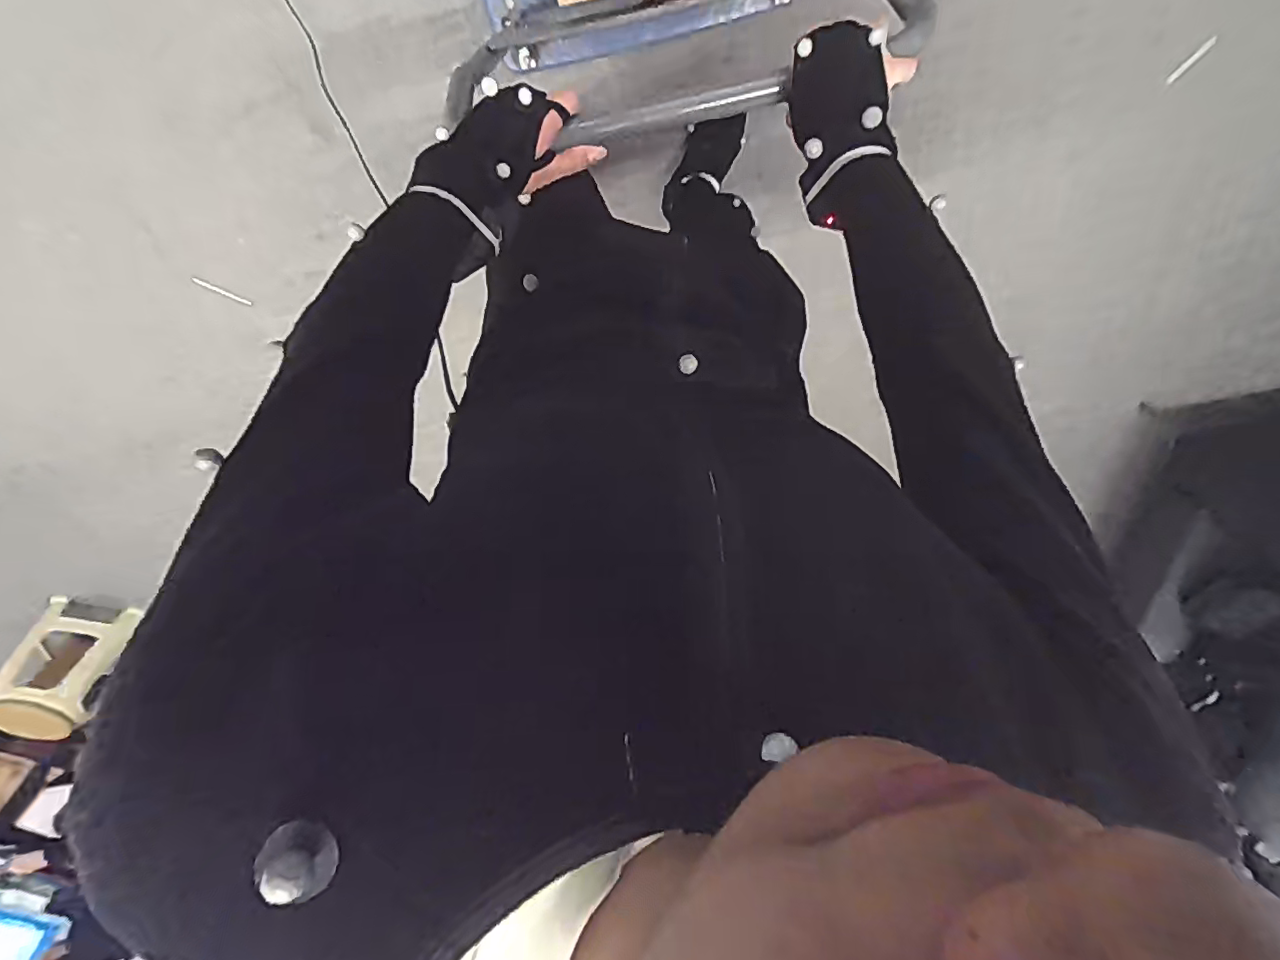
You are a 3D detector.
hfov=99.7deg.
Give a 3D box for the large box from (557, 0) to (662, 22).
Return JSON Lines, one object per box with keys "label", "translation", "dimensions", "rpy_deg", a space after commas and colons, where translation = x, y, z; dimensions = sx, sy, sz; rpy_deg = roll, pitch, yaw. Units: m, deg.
{"label": "large box", "translation": [-0.006, -0.924, 0.740], "dimensions": [0.320, 0.320, 0.408], "rpy_deg": [-10, 129, 6]}
